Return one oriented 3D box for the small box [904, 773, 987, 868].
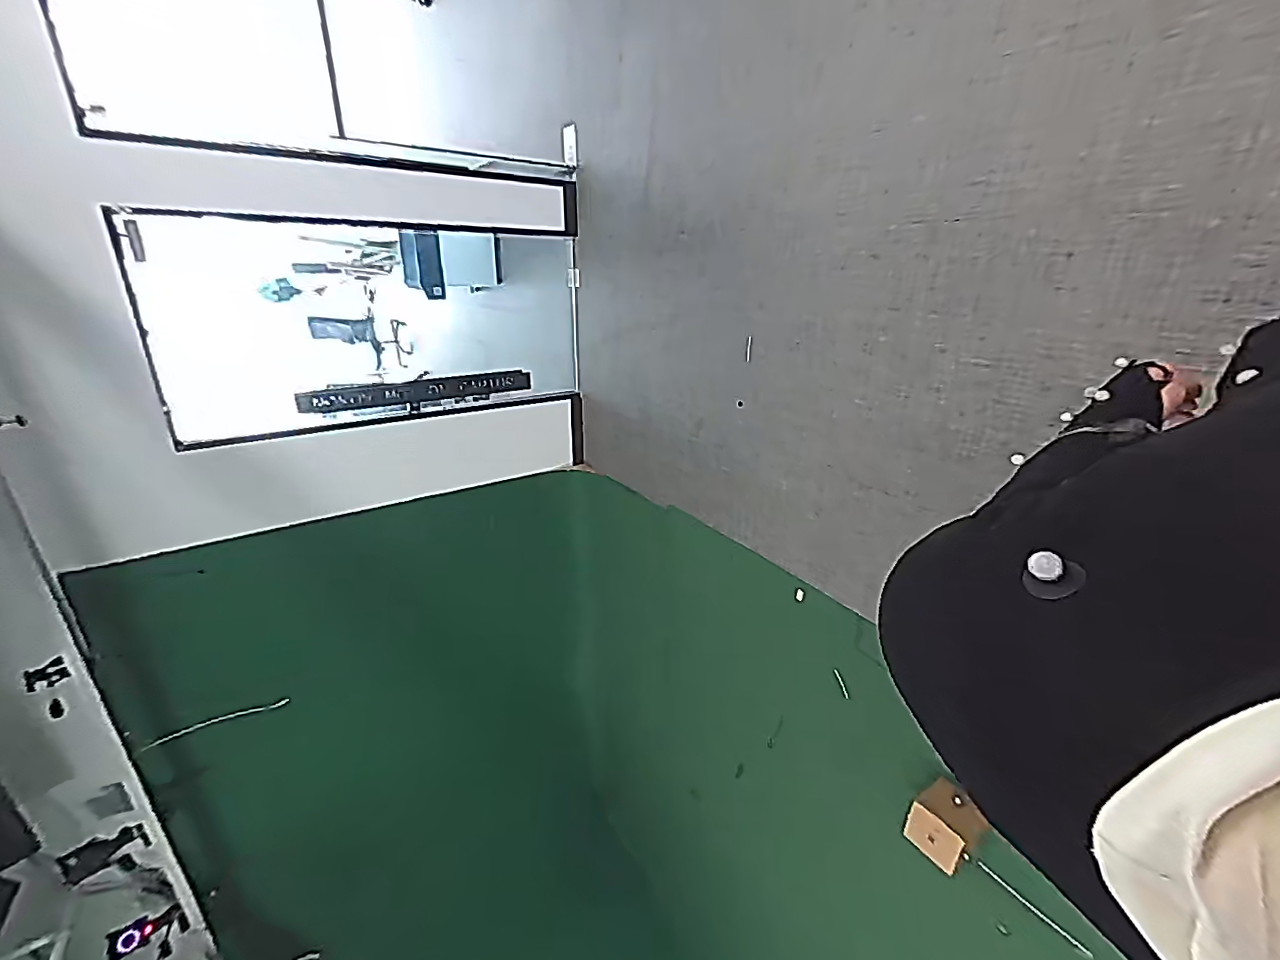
[{"bbox_3d":[1.020,1.131,1.806,0.168,0.176,0.179,32,127,48],"label":"small box"}]
